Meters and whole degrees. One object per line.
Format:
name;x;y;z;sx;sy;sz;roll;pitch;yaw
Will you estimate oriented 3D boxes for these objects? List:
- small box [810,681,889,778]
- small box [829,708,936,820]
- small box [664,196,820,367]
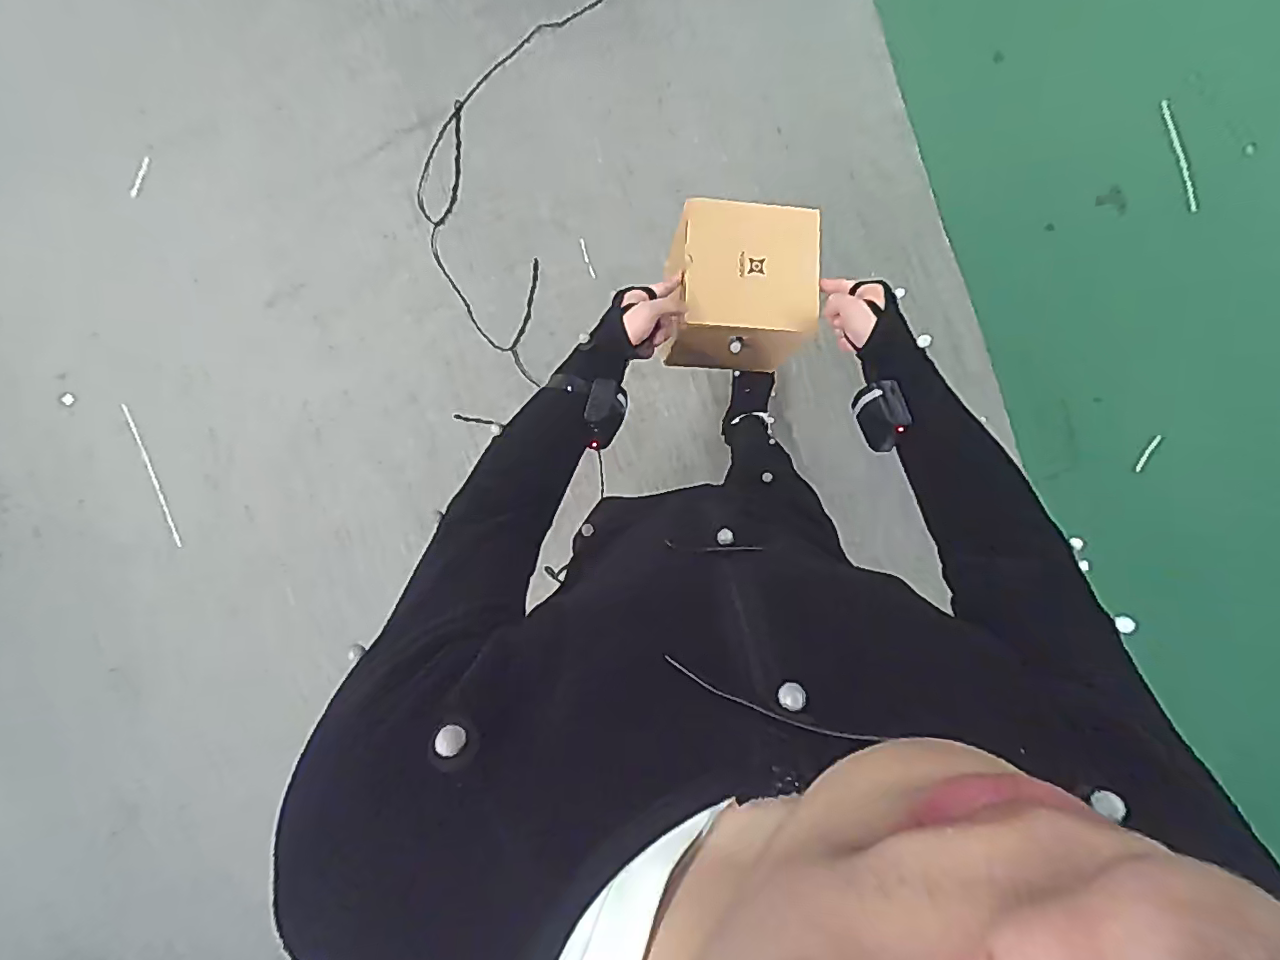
small box;0.608;0.698;1.532;0.179;0.176;0.168;-20;91;4
small box;0.603;0.704;1.369;0.168;0.176;0.179;-23;90;4
small box;0.133;-0.263;0.753;0.179;0.176;0.168;2;84;-4
